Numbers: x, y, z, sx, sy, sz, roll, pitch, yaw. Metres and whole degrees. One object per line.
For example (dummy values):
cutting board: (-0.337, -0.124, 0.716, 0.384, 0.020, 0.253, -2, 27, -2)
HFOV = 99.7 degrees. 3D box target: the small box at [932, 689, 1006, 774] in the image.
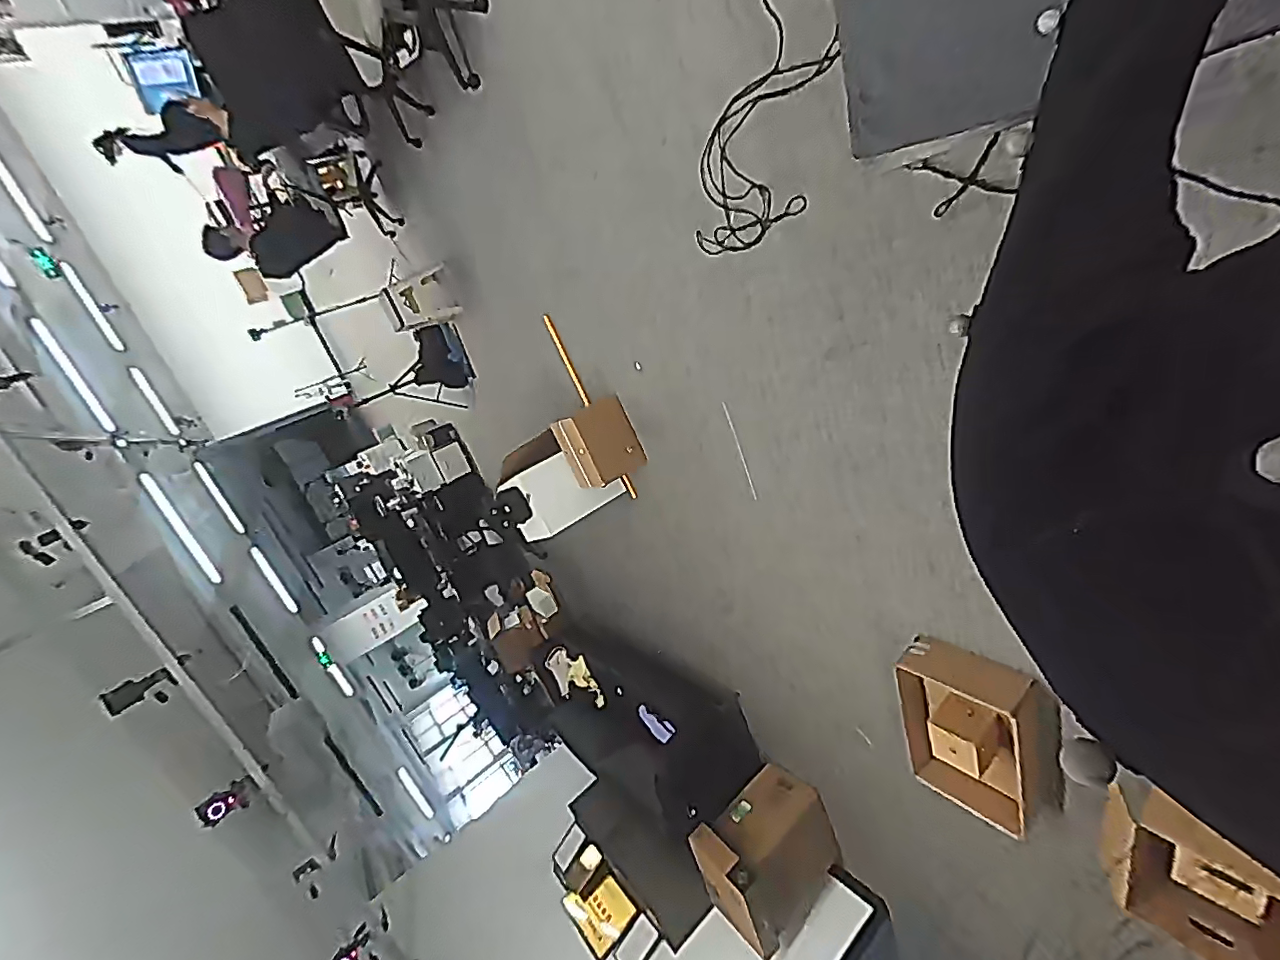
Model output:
small box: (1.173, 0.888, 1.921, 0.168, 0.176, 0.179, 14, 130, 55)
